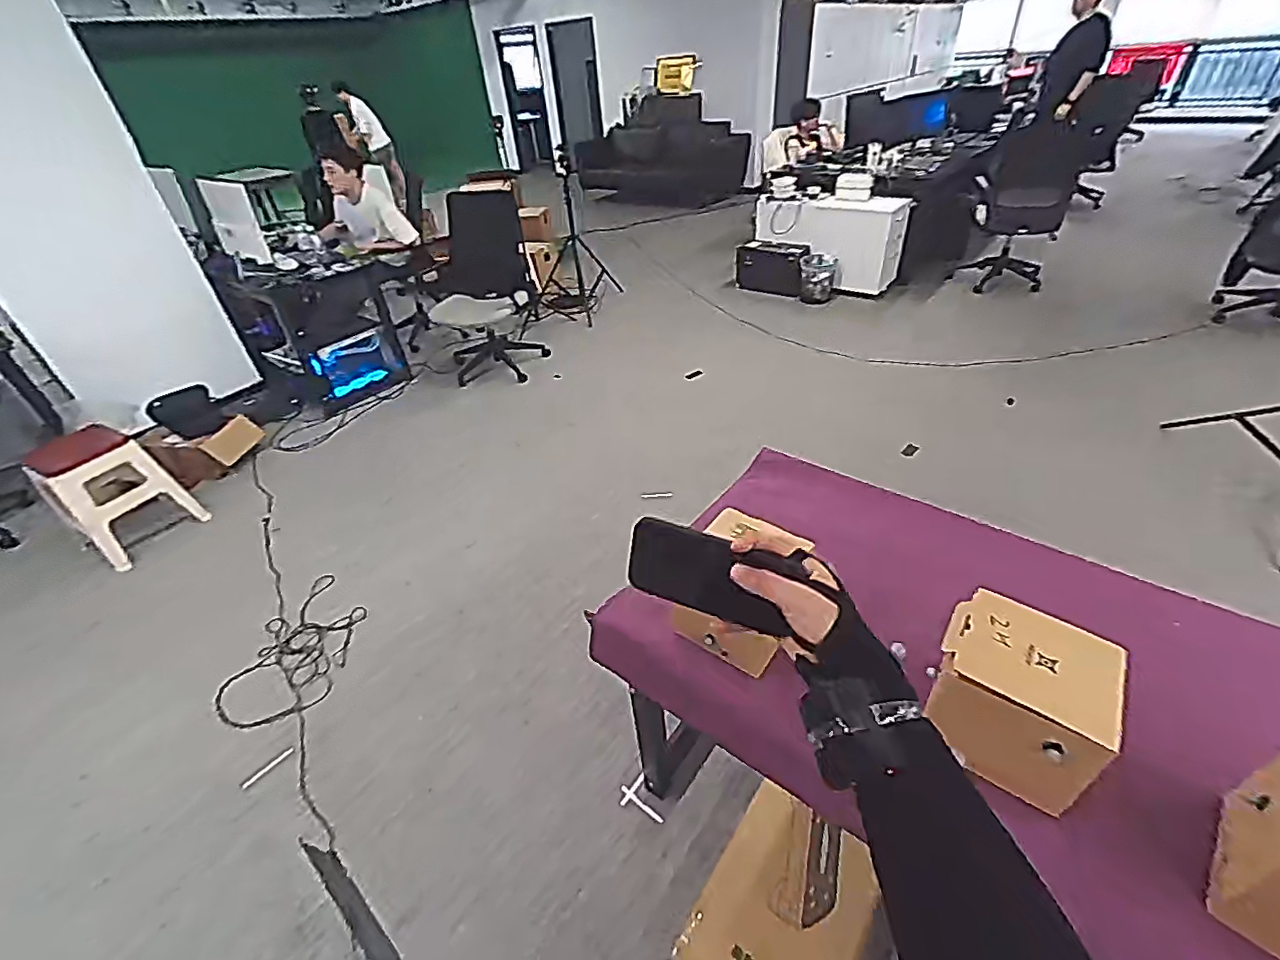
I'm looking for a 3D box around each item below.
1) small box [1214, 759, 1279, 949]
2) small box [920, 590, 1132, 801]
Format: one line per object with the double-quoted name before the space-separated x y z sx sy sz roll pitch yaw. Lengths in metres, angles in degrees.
"small box" 0.742 0.404 0.544 0.179 0.176 0.168 29 49 36
"small box" 0.505 0.288 0.722 0.179 0.176 0.168 22 43 31
